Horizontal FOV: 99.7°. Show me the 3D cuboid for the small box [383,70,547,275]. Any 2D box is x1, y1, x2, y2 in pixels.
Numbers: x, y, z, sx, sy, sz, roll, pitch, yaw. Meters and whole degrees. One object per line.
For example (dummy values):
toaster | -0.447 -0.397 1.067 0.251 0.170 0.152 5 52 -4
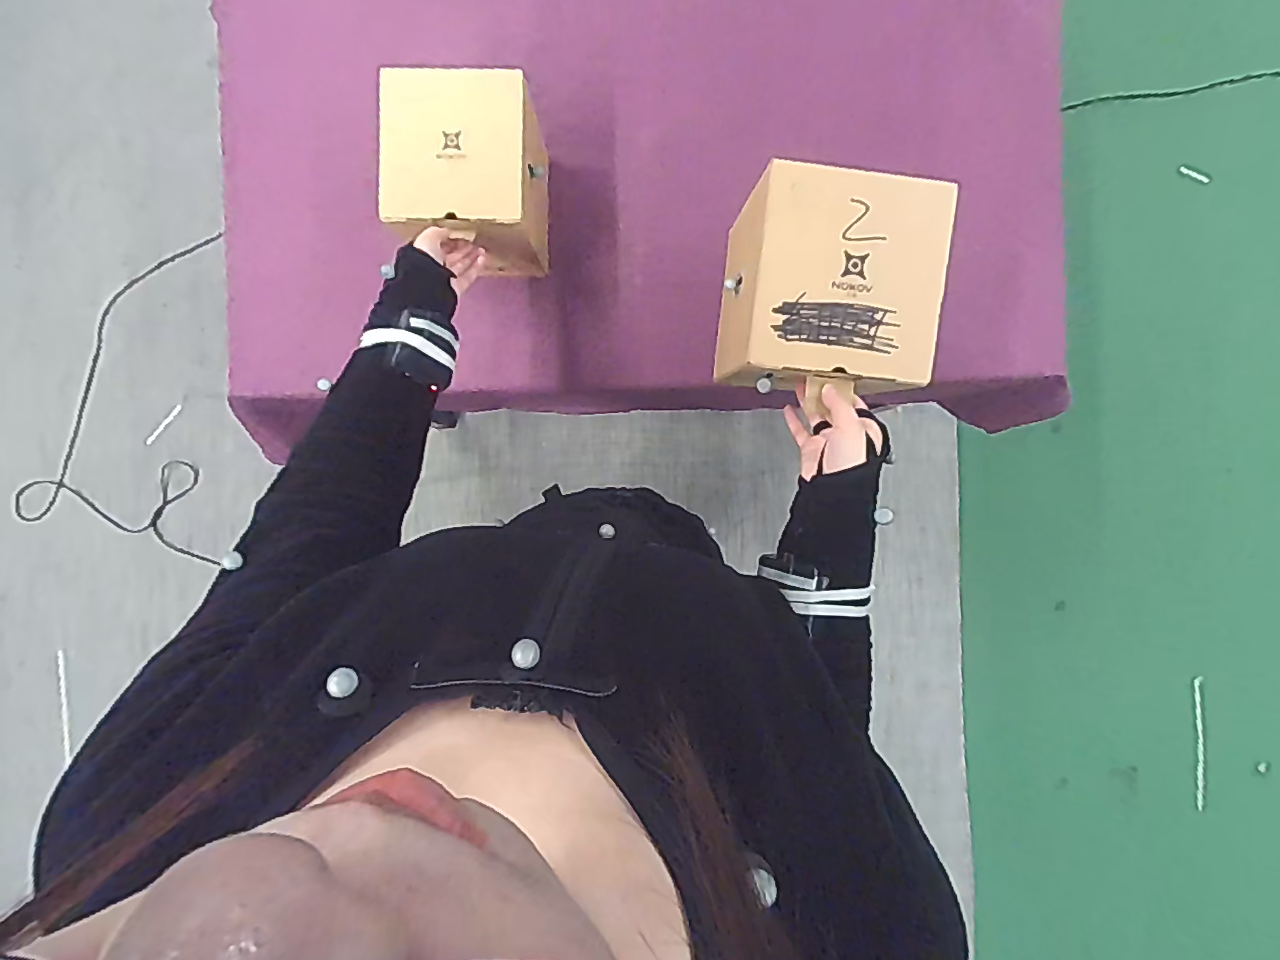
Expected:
small box | -0.218 -0.390 0.711 0.168 0.176 0.179 1 91 0
